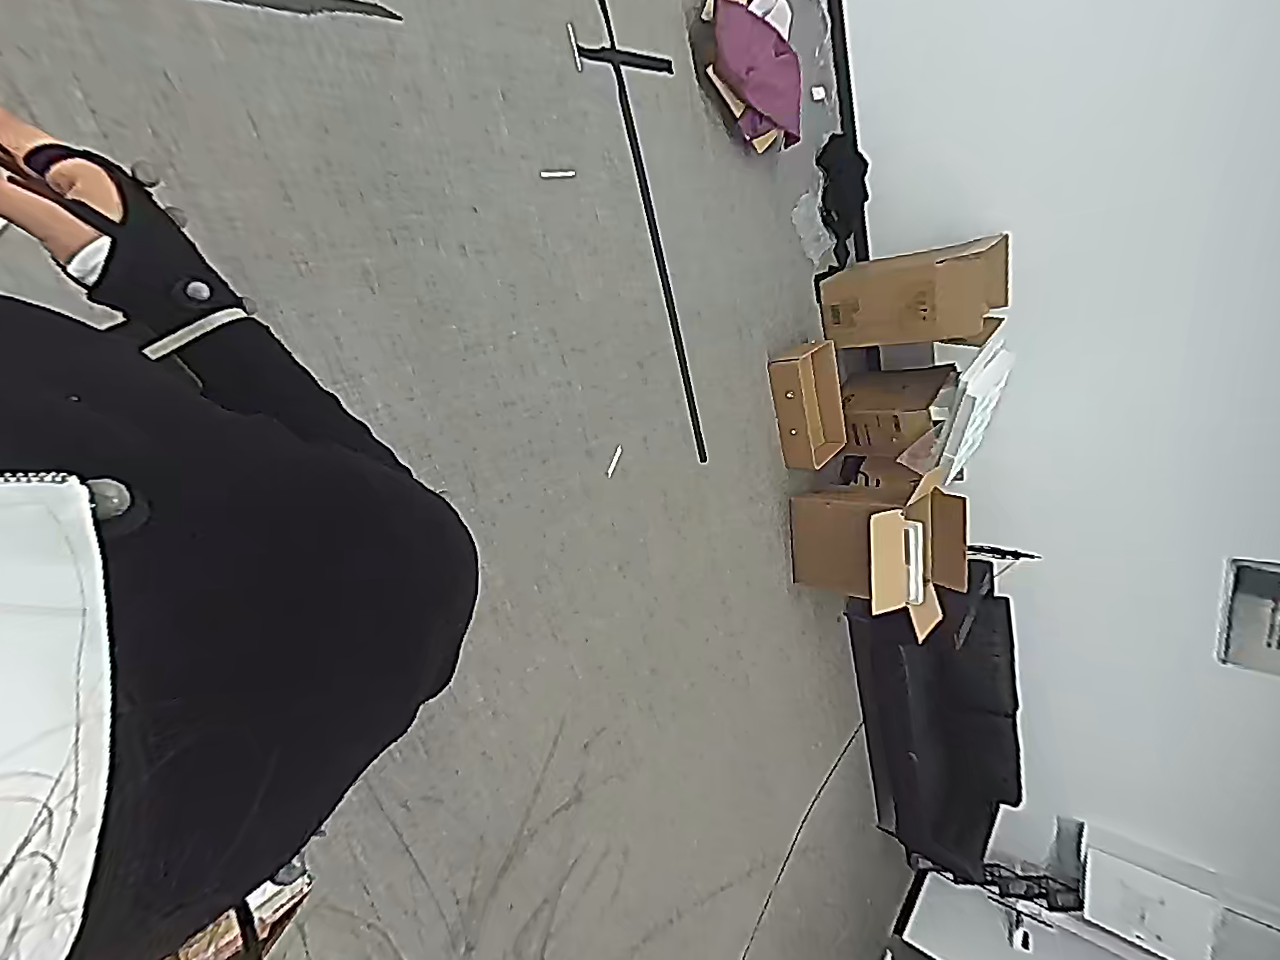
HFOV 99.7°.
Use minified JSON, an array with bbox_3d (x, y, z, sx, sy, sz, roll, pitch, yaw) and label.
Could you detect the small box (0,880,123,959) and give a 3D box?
[{"bbox_3d":[-0.791,0.665,0.671,0.179,0.176,0.168,-32,115,-37],"label":"small box"}]
